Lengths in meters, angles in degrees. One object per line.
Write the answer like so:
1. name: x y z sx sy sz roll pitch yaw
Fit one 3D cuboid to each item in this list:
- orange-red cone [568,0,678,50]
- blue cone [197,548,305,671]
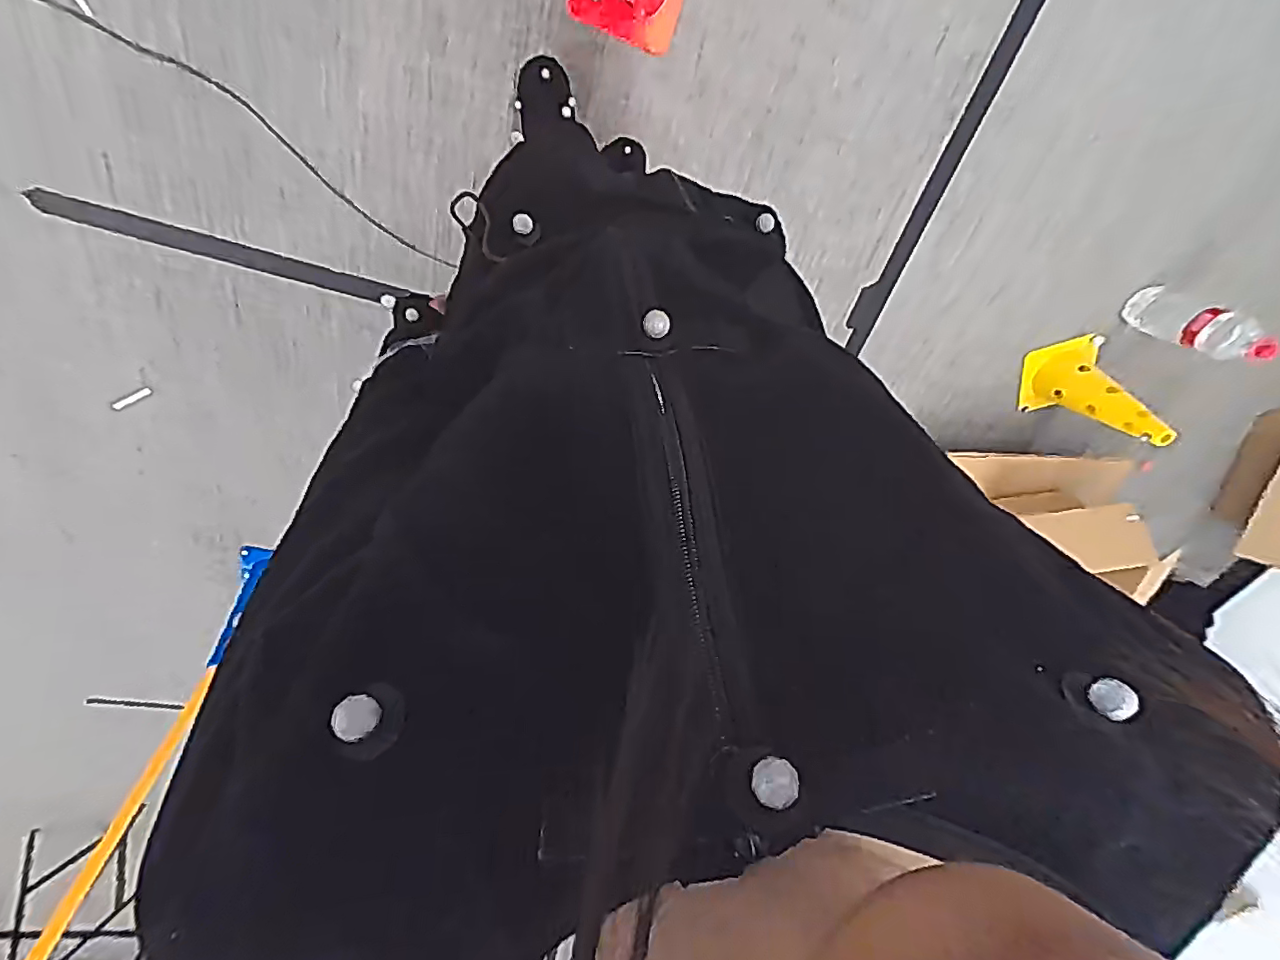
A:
1. orange-red cone: -0.001 -0.817 0.823 0.199 0.360 0.198 14 123 -16
2. blue cone: -1.164 0.394 1.592 0.192 0.380 0.193 15 122 -15
